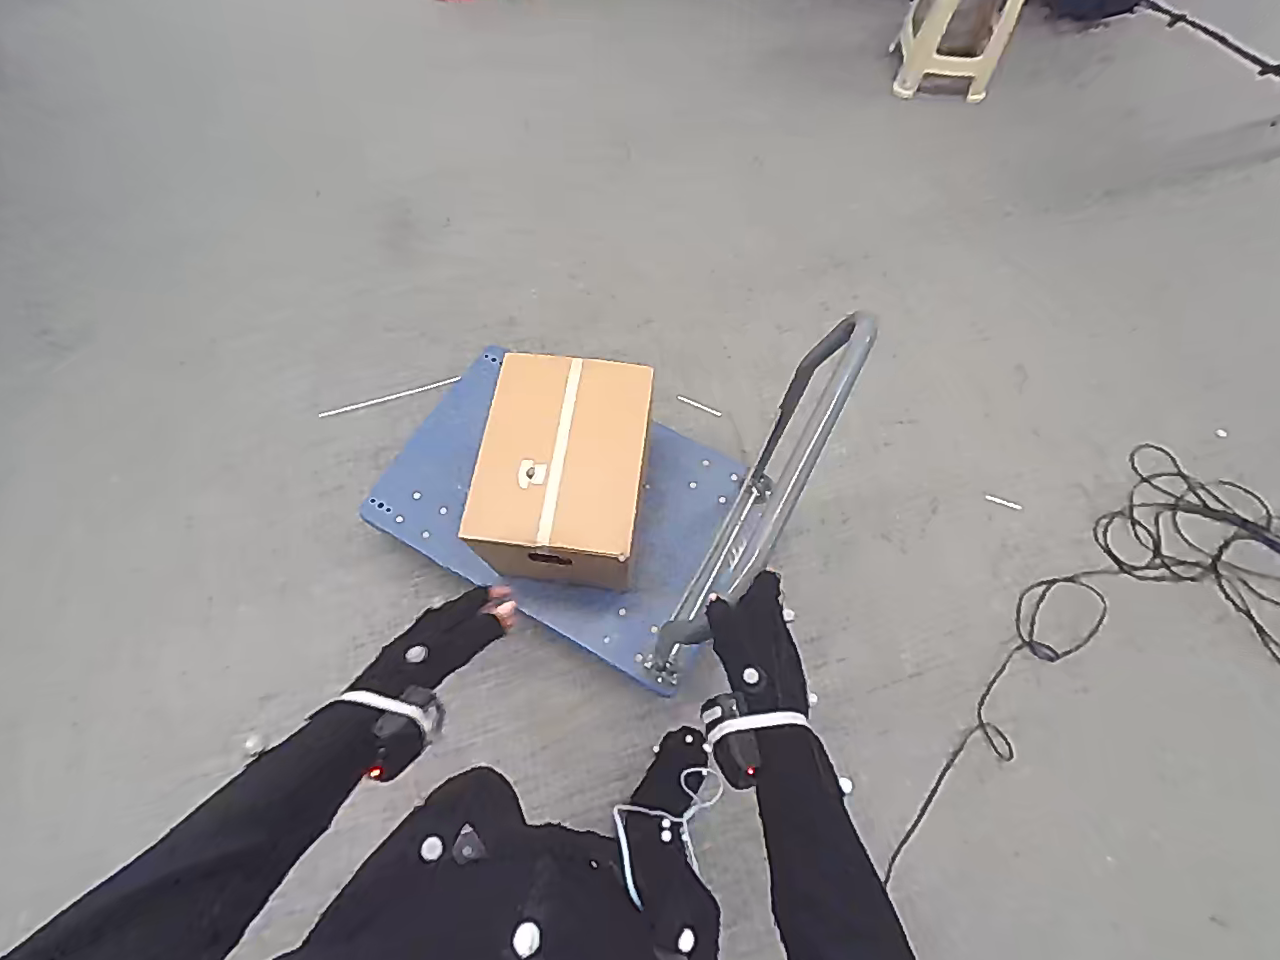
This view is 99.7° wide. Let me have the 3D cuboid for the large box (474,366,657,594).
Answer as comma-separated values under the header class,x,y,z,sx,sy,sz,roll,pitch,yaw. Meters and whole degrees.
class,x,y,z,sx,sy,sz,roll,pitch,yaw
large box,-0.137,0.012,1.189,0.320,0.320,0.408,5,68,2
